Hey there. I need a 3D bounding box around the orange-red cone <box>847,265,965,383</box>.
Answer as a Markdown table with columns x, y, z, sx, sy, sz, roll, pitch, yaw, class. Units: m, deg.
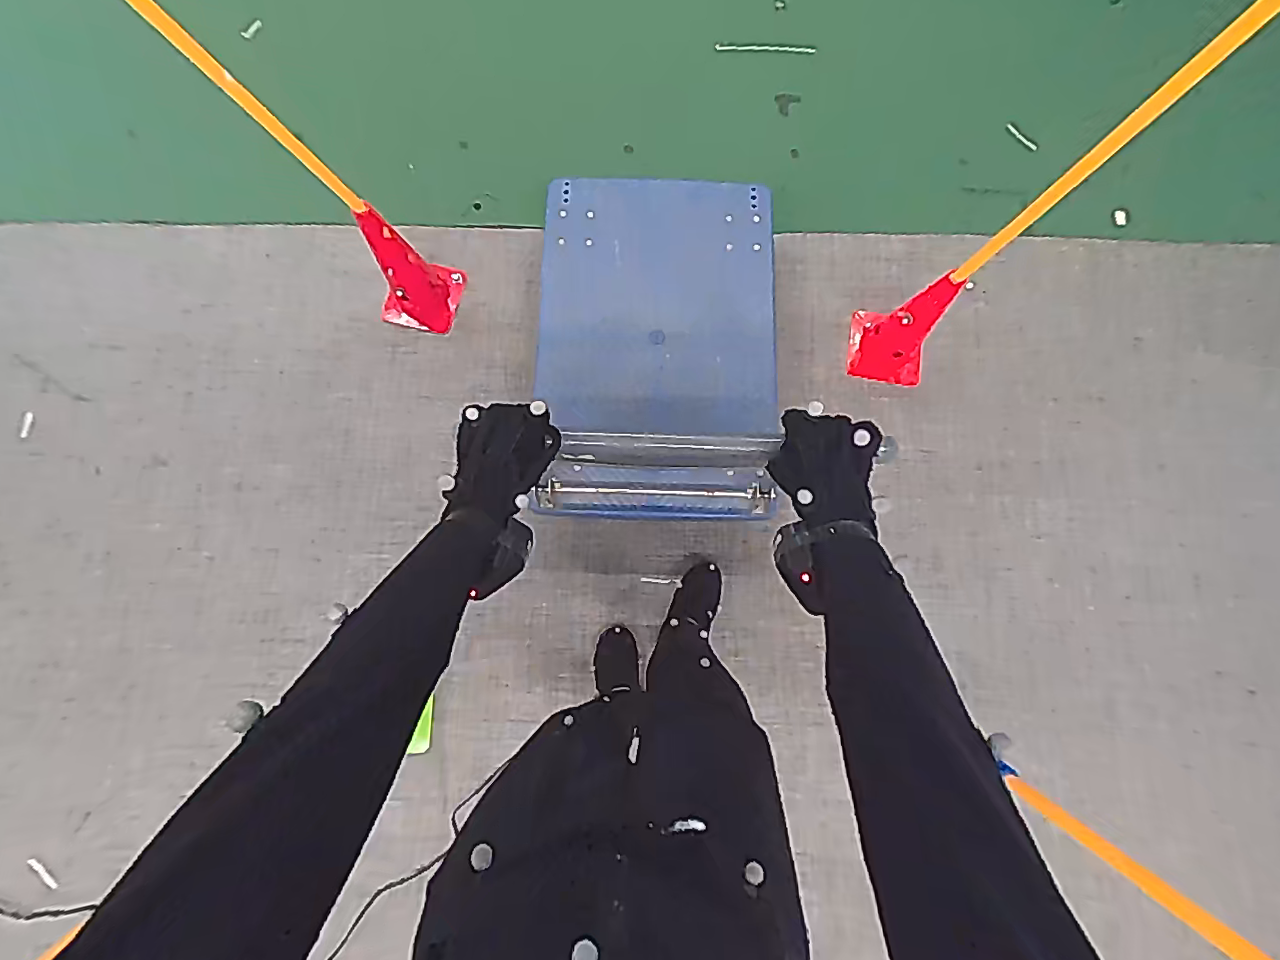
| x | y | z | sx | sy | sz | roll | pitch | yaw | class |
| --- | --- | --- | --- | --- | --- | --- | --- | --- | --- |
| 0.672 | -0.401 | 1.313 | 0.198 | 0.360 | 0.199 | 12 | 80 | 3 | orange-red cone |
